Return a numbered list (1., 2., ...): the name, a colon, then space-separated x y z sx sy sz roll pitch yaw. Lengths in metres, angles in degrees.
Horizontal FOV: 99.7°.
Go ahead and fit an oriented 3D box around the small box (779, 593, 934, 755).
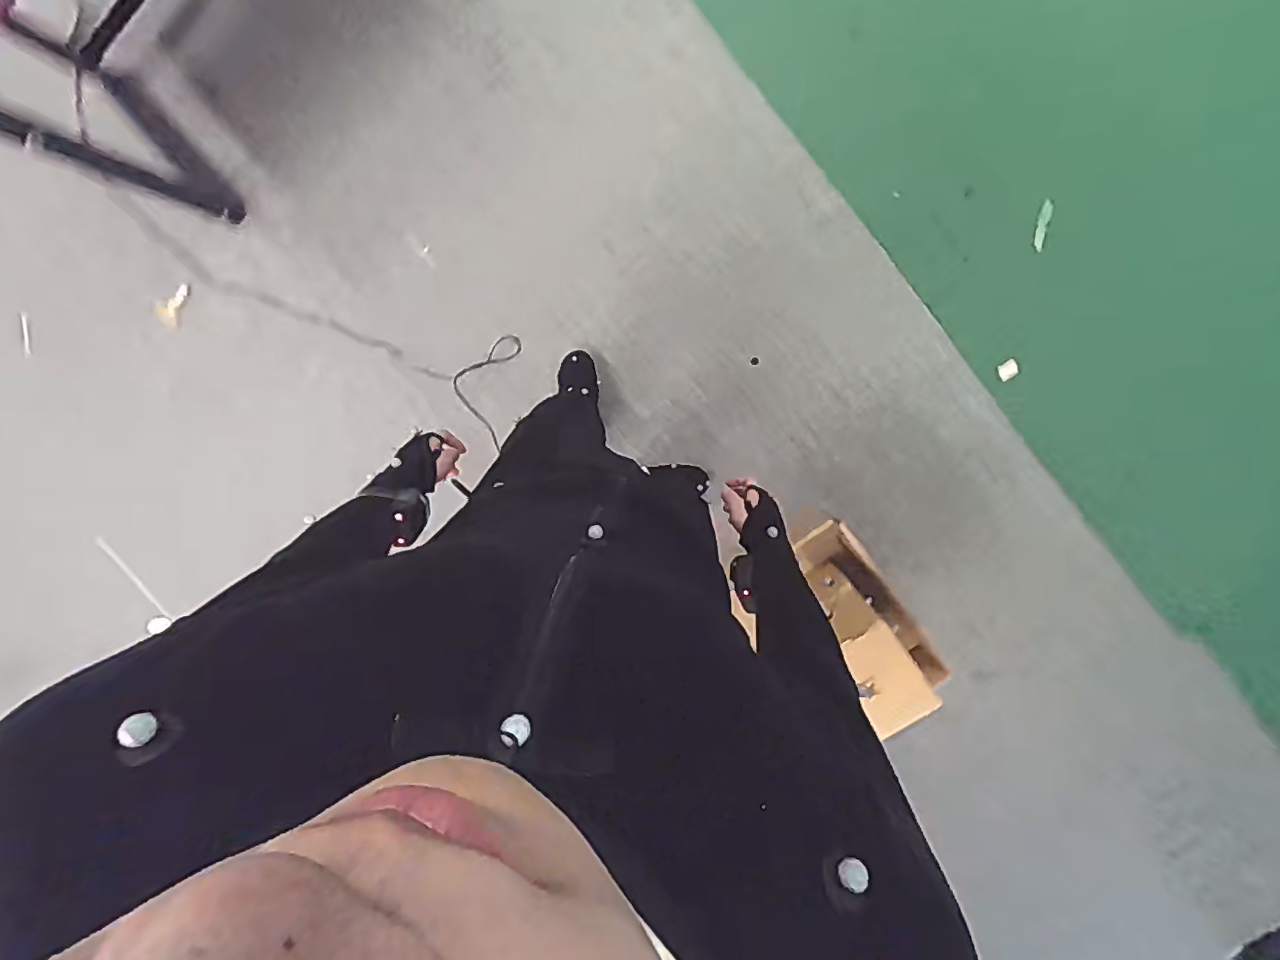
1. small box: 0.371 0.332 0.958 0.168 0.176 0.179 -36 94 9
